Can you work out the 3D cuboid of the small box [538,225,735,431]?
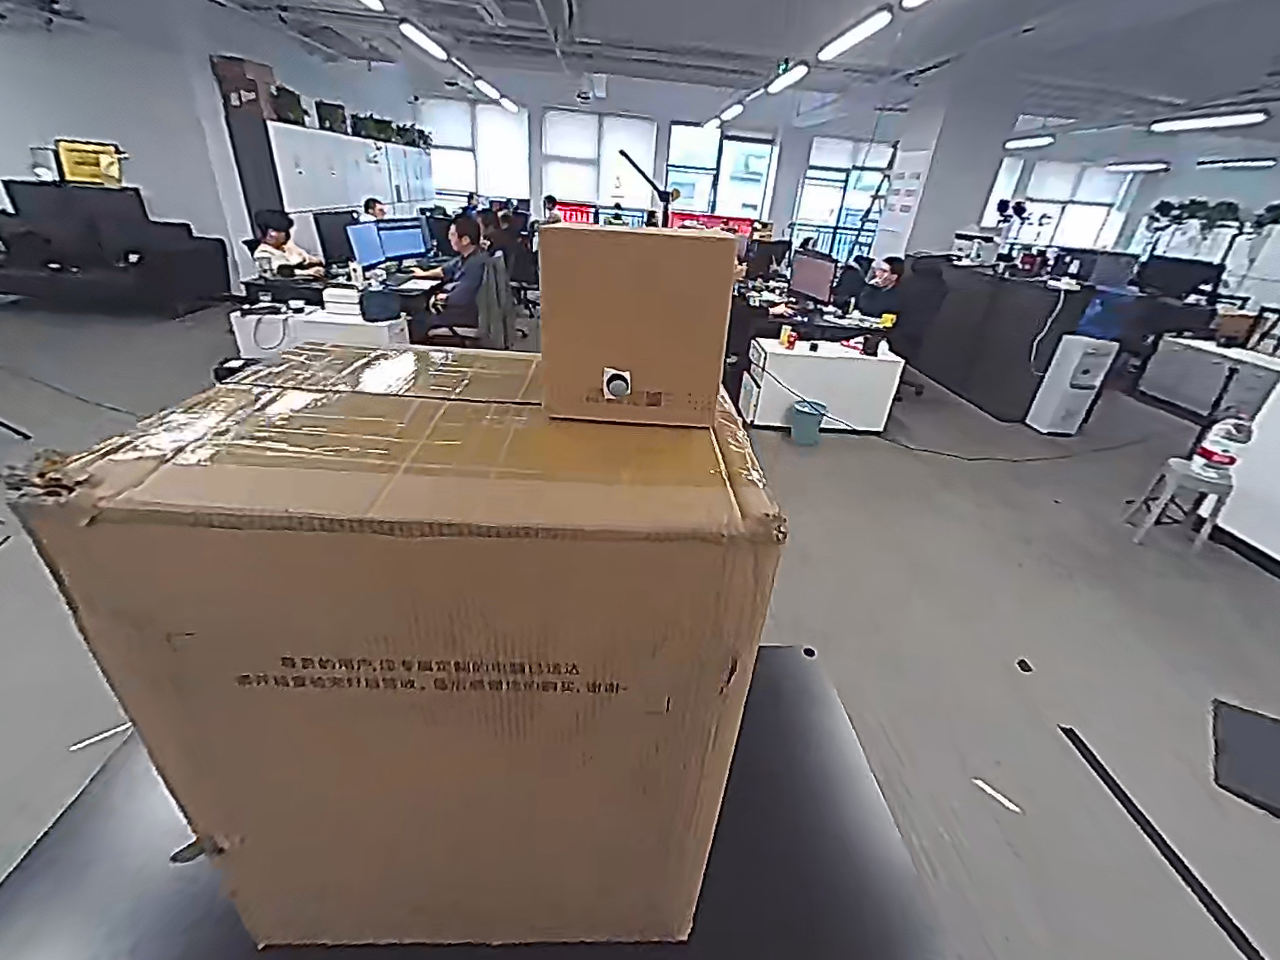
[{"bbox_3d":[-0.006,-0.160,0.548,0.168,0.176,0.179,1,27,-1],"label":"small box"}]
